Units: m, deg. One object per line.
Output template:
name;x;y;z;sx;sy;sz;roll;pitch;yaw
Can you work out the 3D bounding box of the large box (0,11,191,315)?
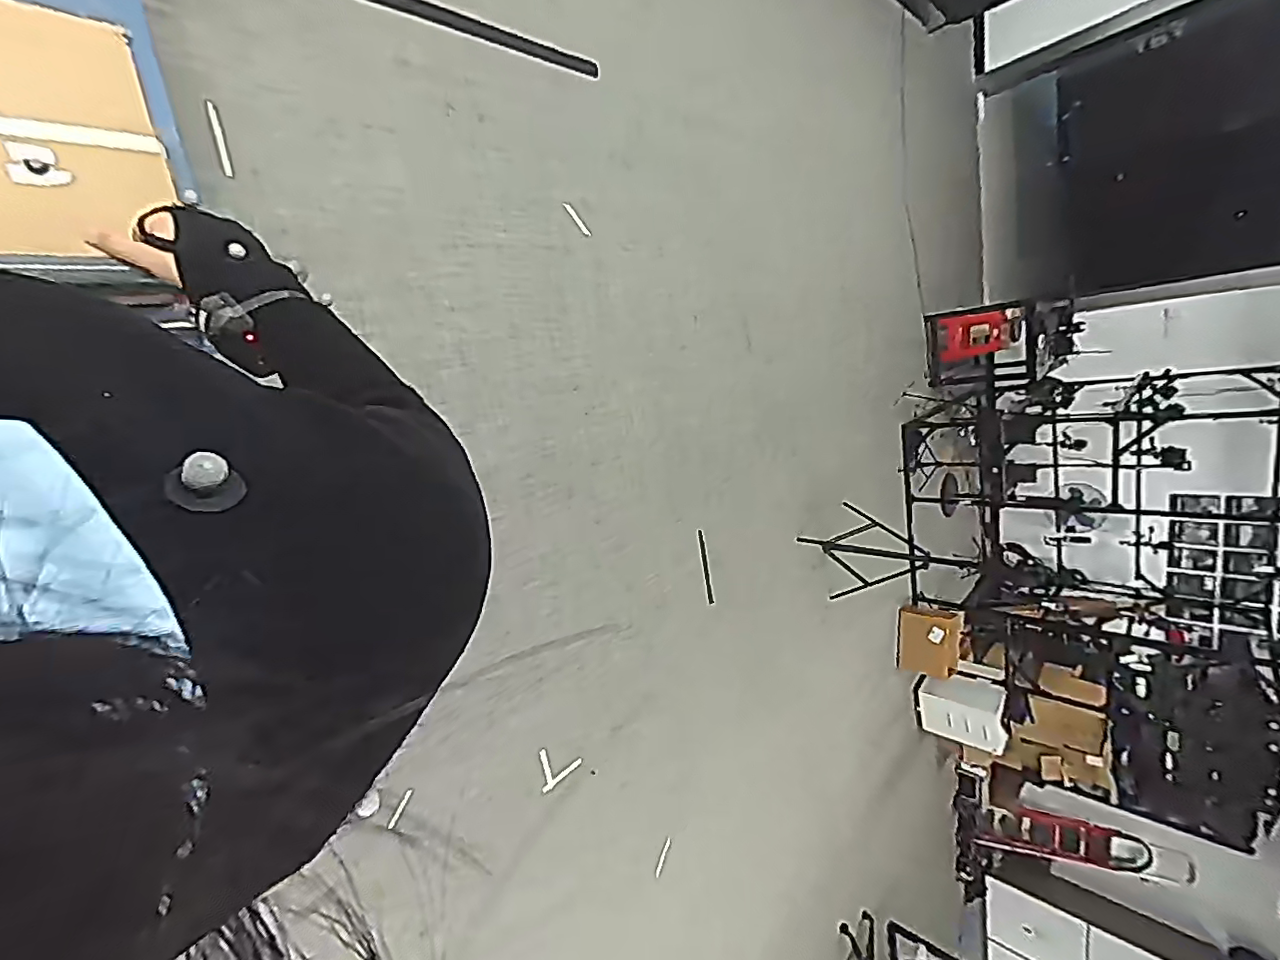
large box;-0.933;-0.412;0.741;0.408;0.320;0.320;-20;106;-44
